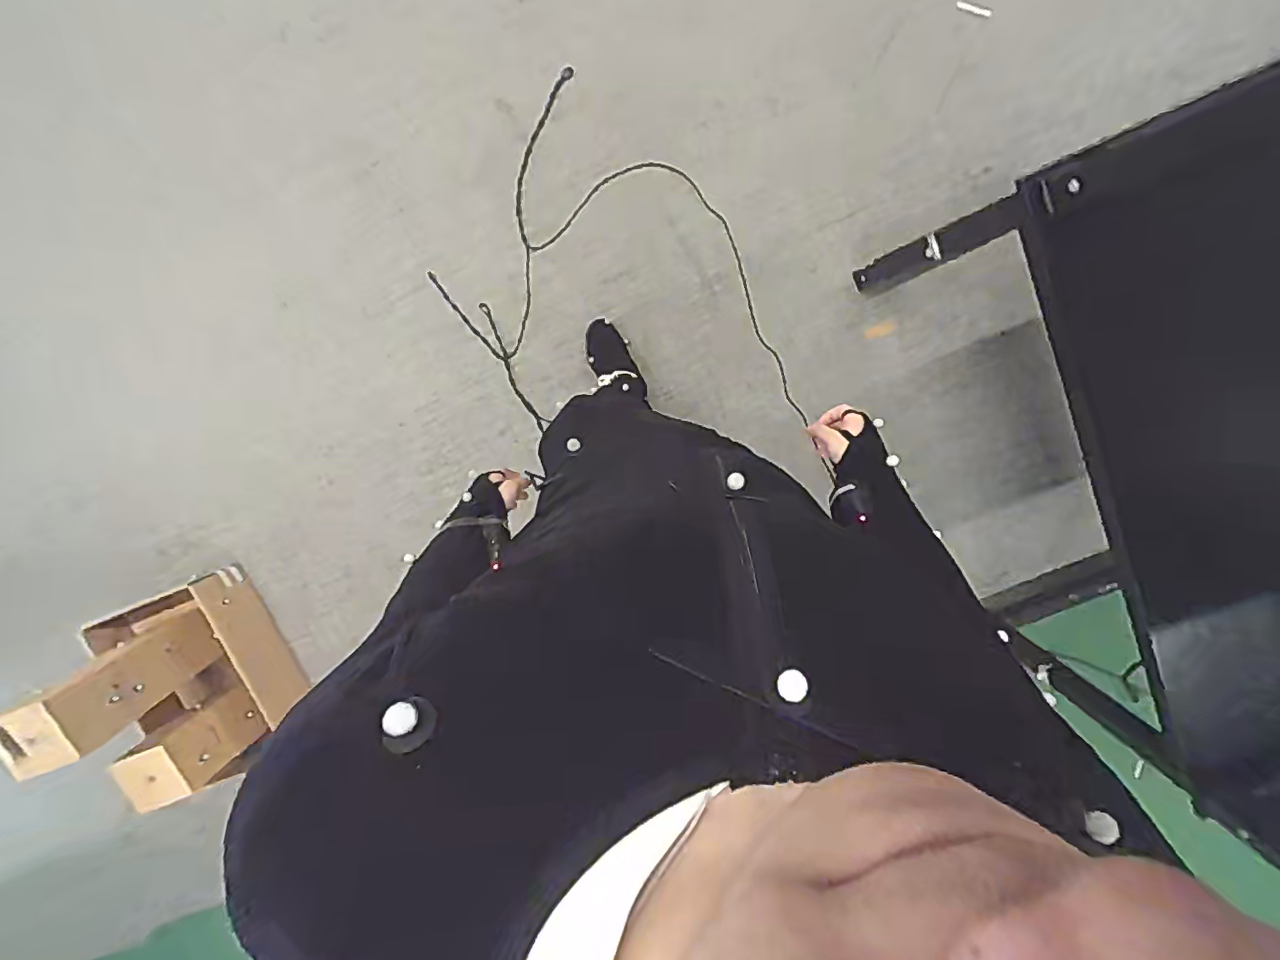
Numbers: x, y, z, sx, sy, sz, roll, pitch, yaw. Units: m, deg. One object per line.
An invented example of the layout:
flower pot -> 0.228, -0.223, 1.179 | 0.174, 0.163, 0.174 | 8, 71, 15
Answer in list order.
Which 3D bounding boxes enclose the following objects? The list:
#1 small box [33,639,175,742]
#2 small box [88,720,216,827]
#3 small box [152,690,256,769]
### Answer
small box -> -1.416, 0.555, 1.443 | 0.179, 0.176, 0.168 | -21, 102, 5
small box -> -1.323, 0.798, 1.487 | 0.179, 0.176, 0.168 | -22, 99, 5
small box -> -1.320, 0.773, 1.647 | 0.179, 0.176, 0.168 | -21, 99, 4
